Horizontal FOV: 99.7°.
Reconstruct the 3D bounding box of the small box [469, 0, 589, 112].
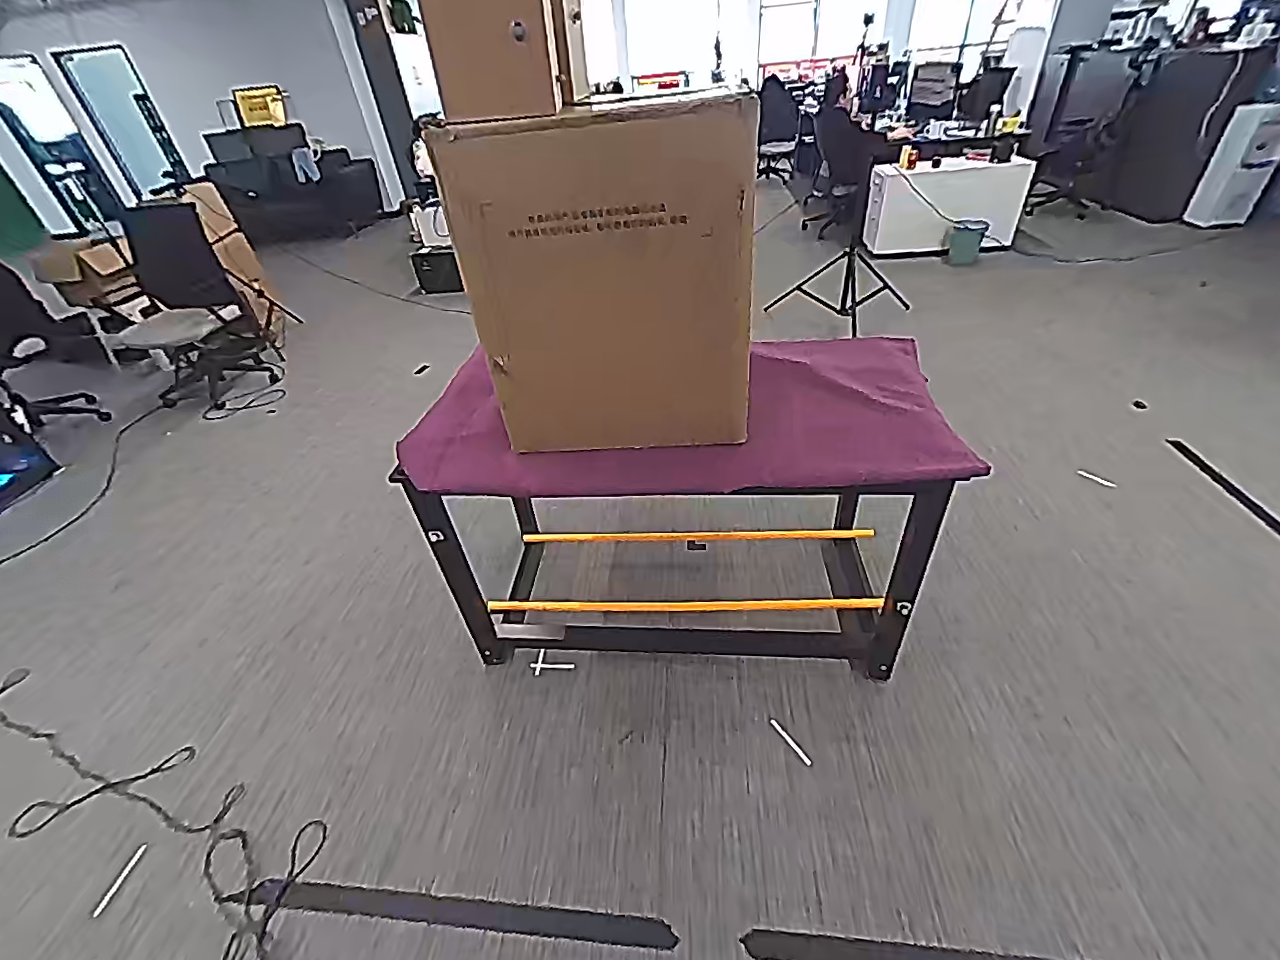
[{"bbox_3d":[-0.197,-0.802,1.020,0.168,0.176,0.179,1,38,7],"label":"small box"}]
